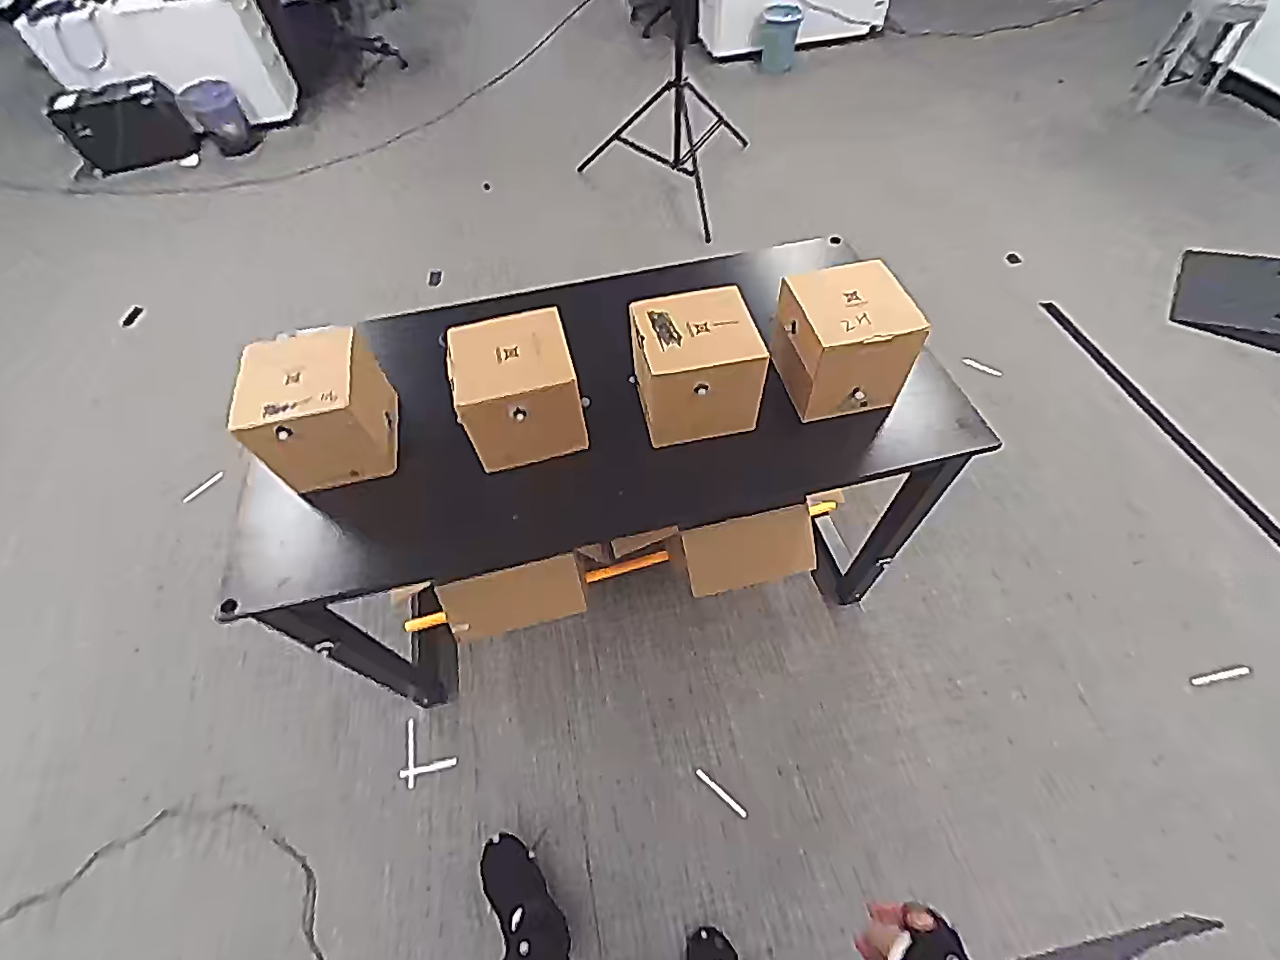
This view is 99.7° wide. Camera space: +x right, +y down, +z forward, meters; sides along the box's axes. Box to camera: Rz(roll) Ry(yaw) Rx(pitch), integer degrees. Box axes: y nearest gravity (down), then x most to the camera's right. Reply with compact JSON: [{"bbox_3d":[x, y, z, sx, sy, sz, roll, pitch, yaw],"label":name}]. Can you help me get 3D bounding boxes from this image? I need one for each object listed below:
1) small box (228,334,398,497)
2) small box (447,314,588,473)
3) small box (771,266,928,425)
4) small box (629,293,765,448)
[{"bbox_3d":[-0.501,-0.100,0.859,0.168,0.176,0.179,-13,56,-6],"label":"small box"},{"bbox_3d":[-0.192,-0.132,0.866,0.179,0.176,0.168,-14,57,-7],"label":"small box"},{"bbox_3d":[0.326,-0.218,0.888,0.168,0.176,0.179,-11,56,-3],"label":"small box"},{"bbox_3d":[0.086,-0.169,0.872,0.179,0.176,0.168,-10,55,-3],"label":"small box"}]
